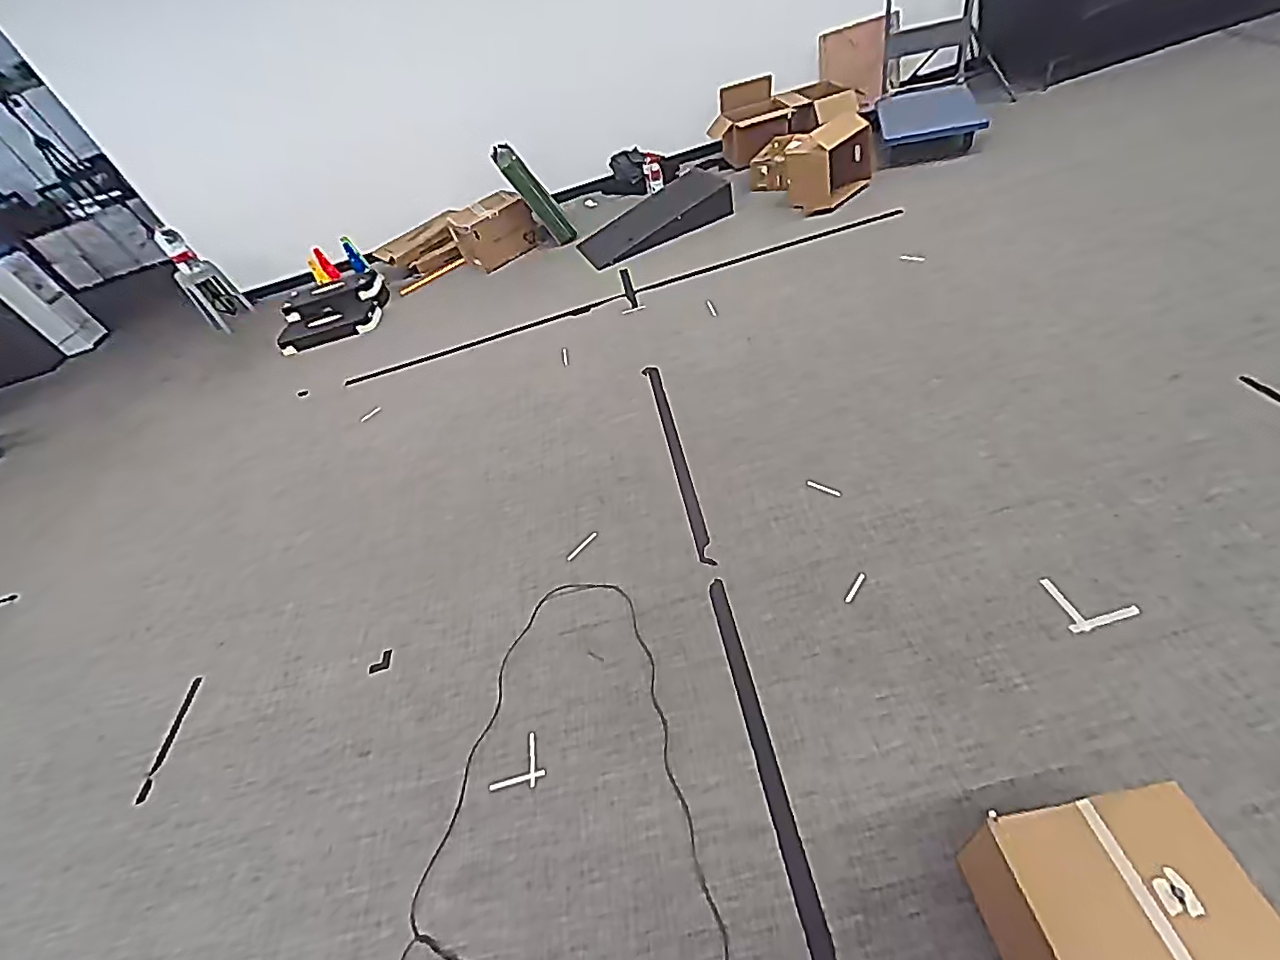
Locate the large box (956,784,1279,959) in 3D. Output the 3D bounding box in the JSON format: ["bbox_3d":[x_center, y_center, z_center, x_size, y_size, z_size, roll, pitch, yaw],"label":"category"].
[{"bbox_3d":[0.796,0.788,0.881,0.320,0.320,0.408,-14,43,3],"label":"large box"}]
